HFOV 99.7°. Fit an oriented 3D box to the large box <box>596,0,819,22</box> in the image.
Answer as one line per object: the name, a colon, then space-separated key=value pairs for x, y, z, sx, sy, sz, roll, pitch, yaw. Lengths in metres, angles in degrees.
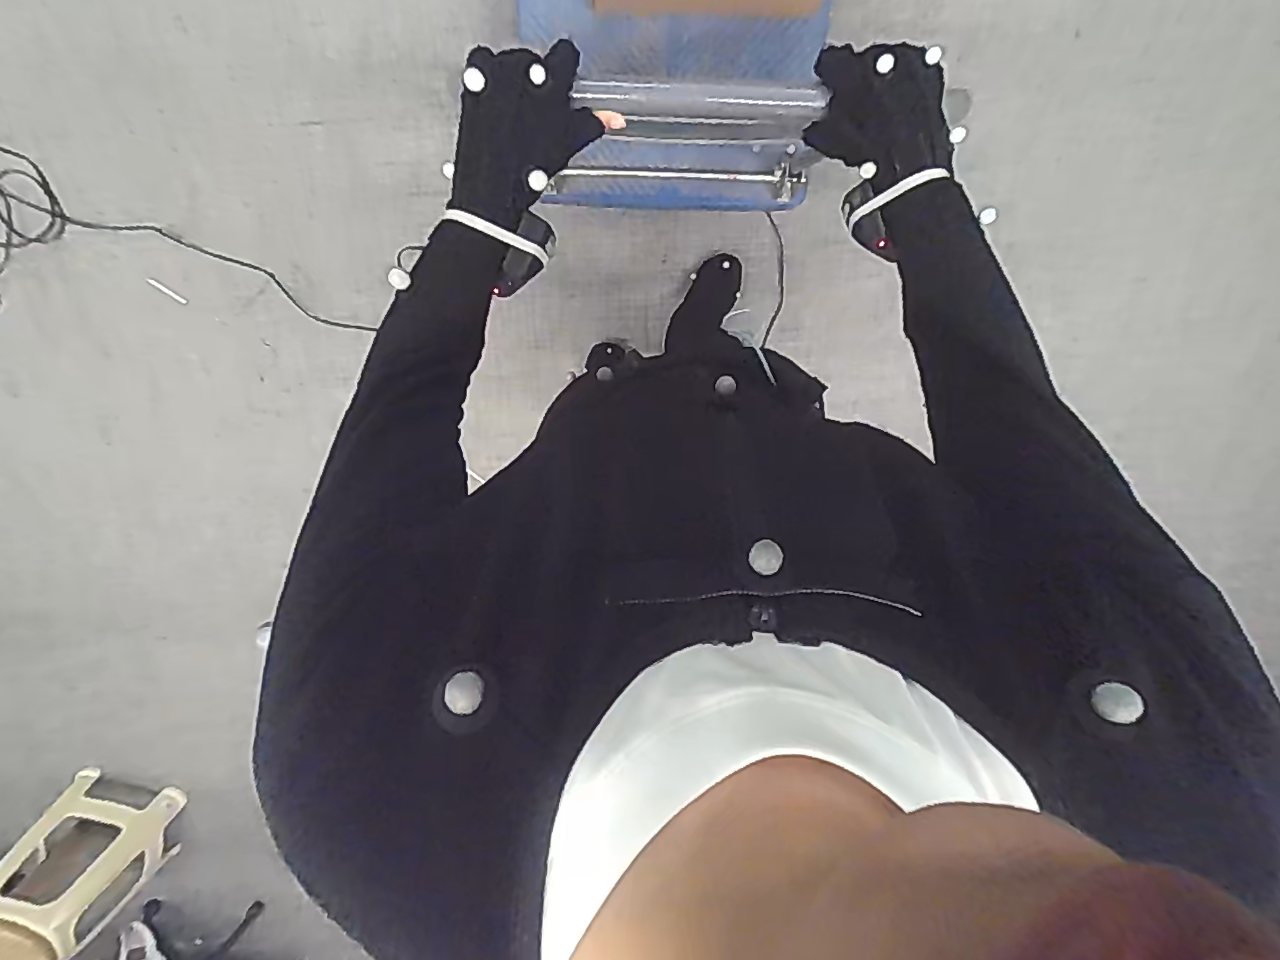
large box: x=0.119 y=-0.954 z=0.827 sx=0.408 sy=0.320 sz=0.320 roll=0 pitch=109 yaw=1
